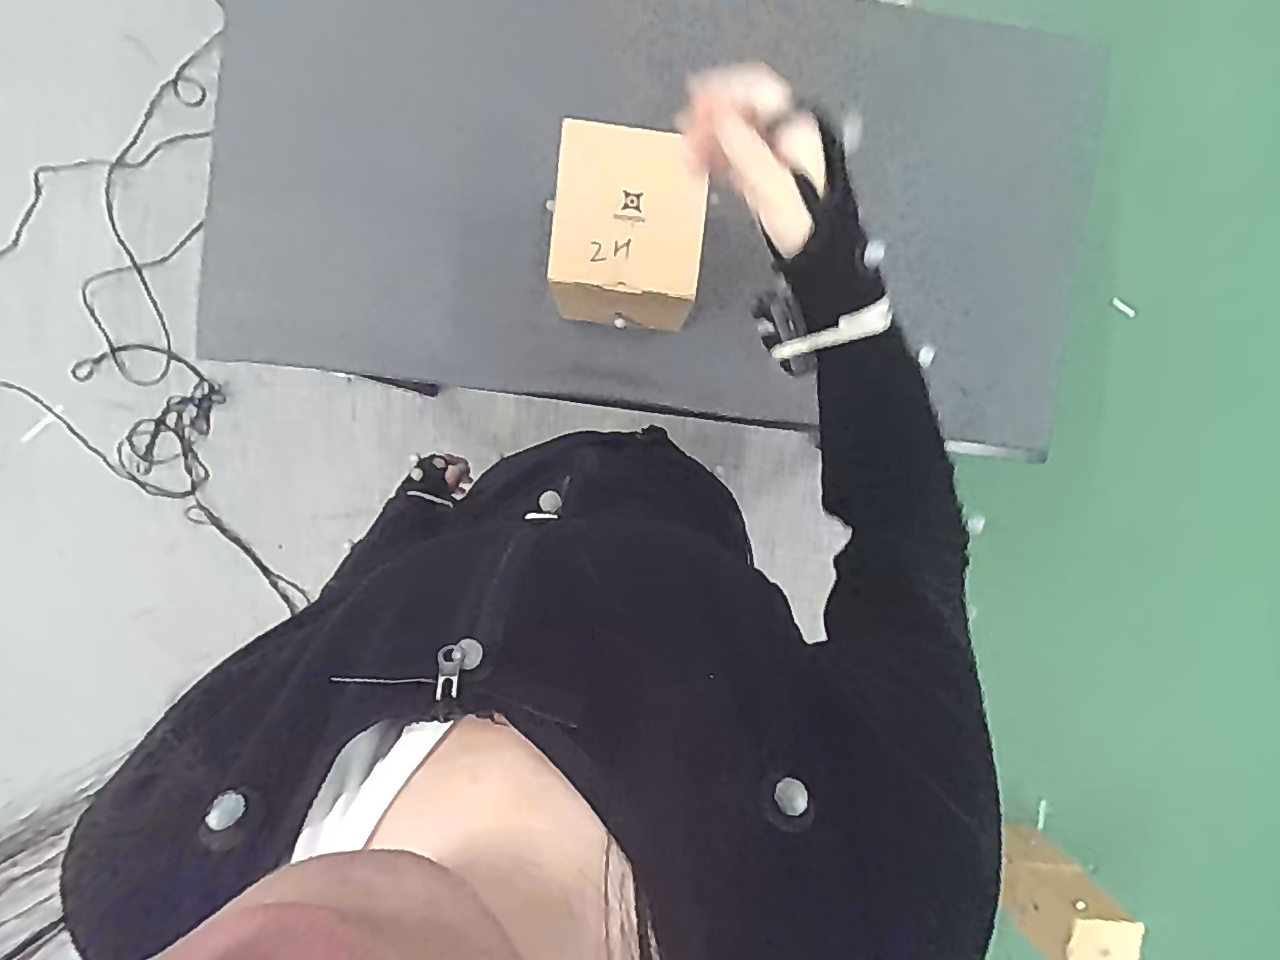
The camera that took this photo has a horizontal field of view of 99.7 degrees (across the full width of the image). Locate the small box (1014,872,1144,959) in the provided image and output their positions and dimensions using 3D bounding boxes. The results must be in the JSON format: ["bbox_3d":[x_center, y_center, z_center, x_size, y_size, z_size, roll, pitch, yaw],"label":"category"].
[{"bbox_3d":[1.091,1.123,1.355,0.179,0.176,0.168,6,93,-3],"label":"small box"}]

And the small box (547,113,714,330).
[{"bbox_3d":[-0.014,-0.299,0.662,0.168,0.176,0.179,6,92,-3],"label":"small box"}]
